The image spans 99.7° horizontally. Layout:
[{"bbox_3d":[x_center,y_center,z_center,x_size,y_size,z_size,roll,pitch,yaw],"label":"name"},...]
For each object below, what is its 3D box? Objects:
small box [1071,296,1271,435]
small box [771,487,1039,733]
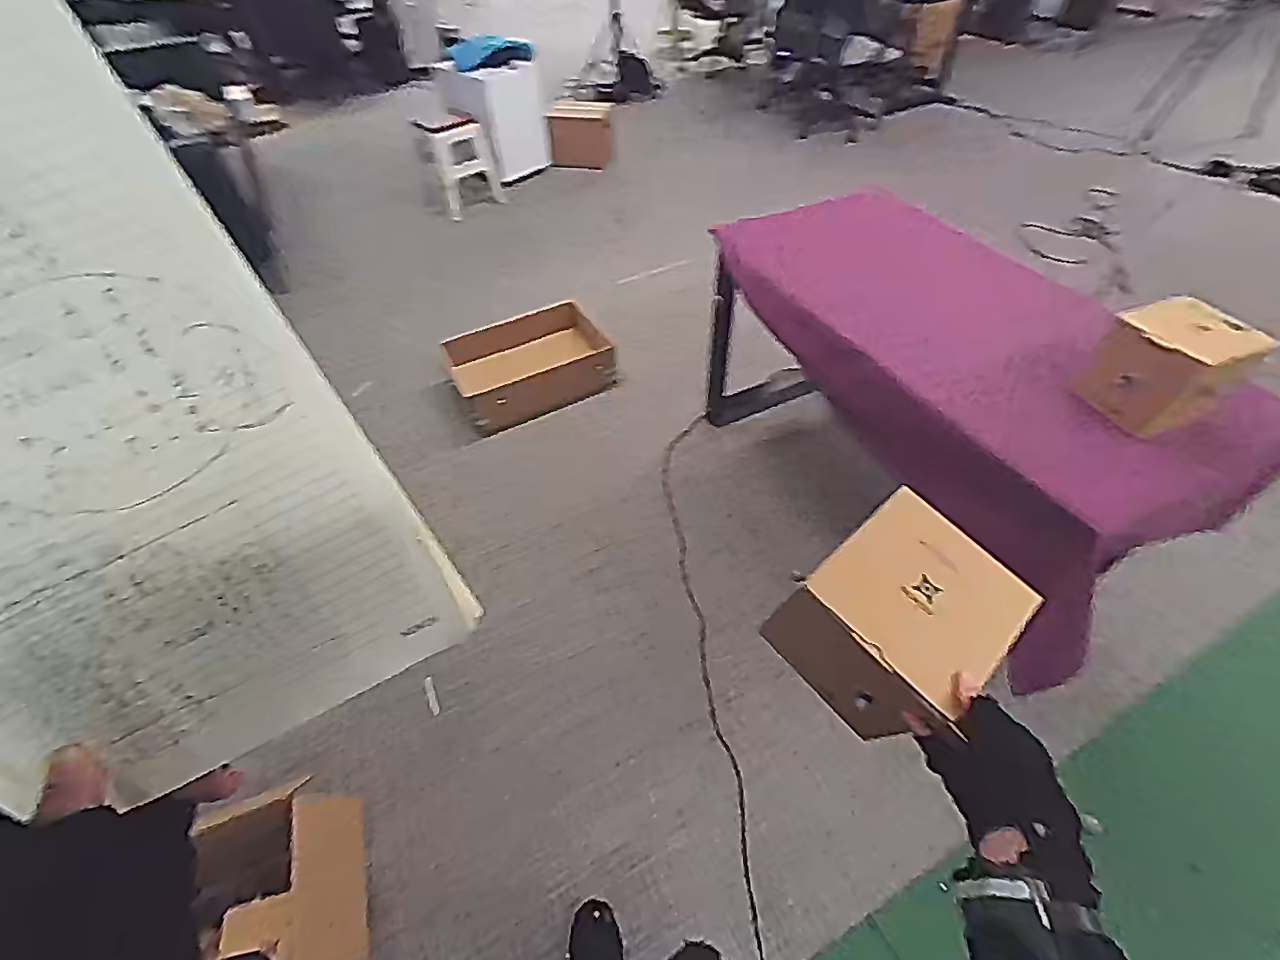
[{"bbox_3d":[0.951,-0.207,0.994,0.179,0.176,0.168,-17,51,-11],"label":"small box"},{"bbox_3d":[0.263,0.146,0.584,0.179,0.176,0.168,-35,69,-22],"label":"small box"}]
